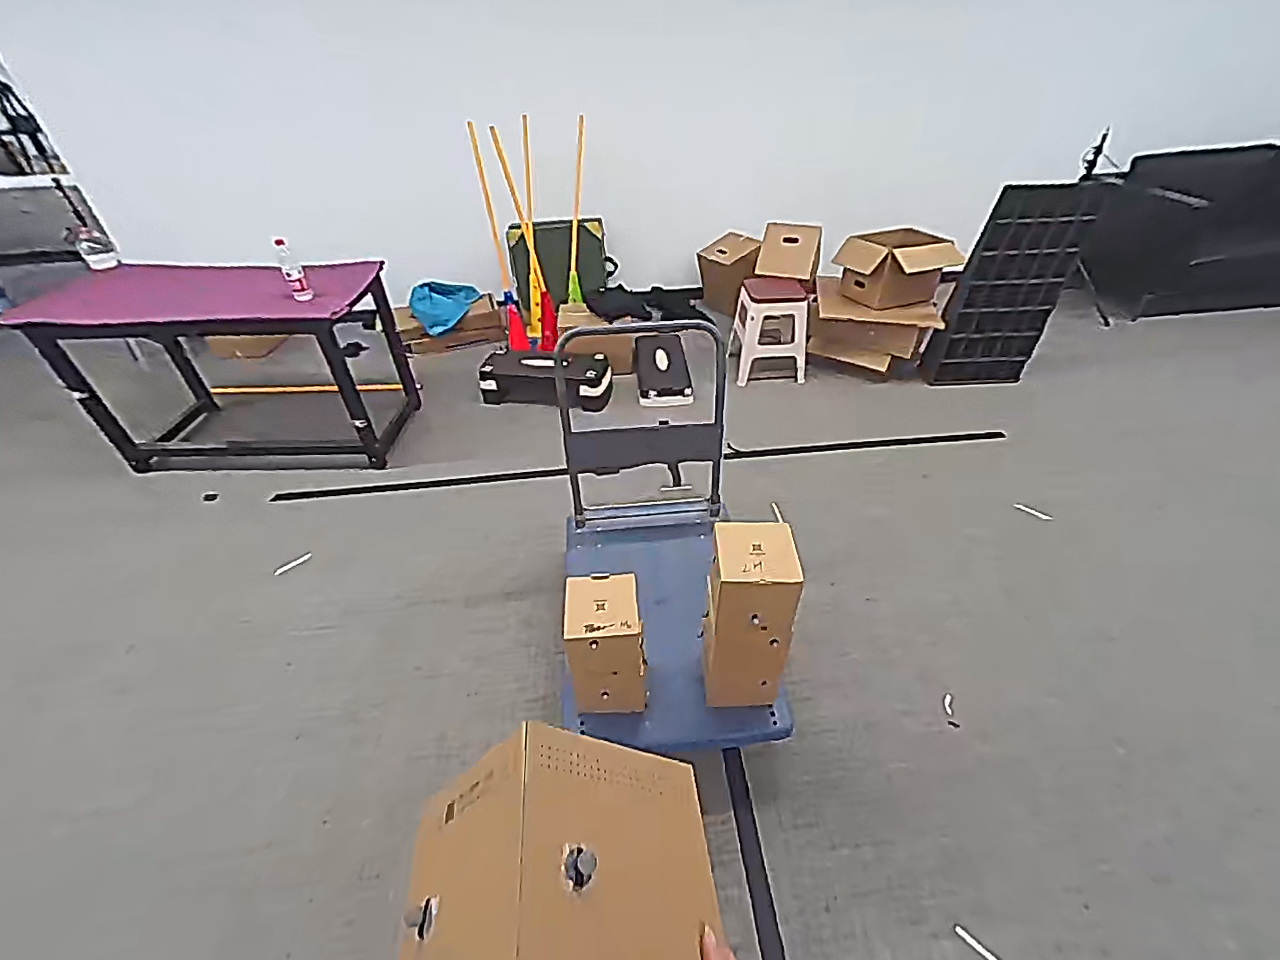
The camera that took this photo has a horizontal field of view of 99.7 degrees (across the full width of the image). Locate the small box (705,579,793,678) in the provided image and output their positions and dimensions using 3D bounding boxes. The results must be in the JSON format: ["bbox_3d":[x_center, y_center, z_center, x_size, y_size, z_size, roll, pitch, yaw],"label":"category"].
[{"bbox_3d":[0.247,0.350,1.277,0.179,0.176,0.168,0,39,1],"label":"small box"}]

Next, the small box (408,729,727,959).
[{"bbox_3d":[-0.061,0.316,0.413,0.179,0.168,0.176,31,29,-29],"label":"small box"}]

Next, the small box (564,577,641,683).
[{"bbox_3d":[-0.085,0.353,1.279,0.168,0.176,0.179,-3,38,-2],"label":"small box"}]

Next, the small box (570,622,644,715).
[{"bbox_3d":[-0.077,0.482,1.381,0.179,0.176,0.168,-2,39,1],"label":"small box"}]

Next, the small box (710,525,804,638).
[{"bbox_3d":[0.244,0.219,1.175,0.168,0.176,0.179,1,39,2],"label":"small box"}]
